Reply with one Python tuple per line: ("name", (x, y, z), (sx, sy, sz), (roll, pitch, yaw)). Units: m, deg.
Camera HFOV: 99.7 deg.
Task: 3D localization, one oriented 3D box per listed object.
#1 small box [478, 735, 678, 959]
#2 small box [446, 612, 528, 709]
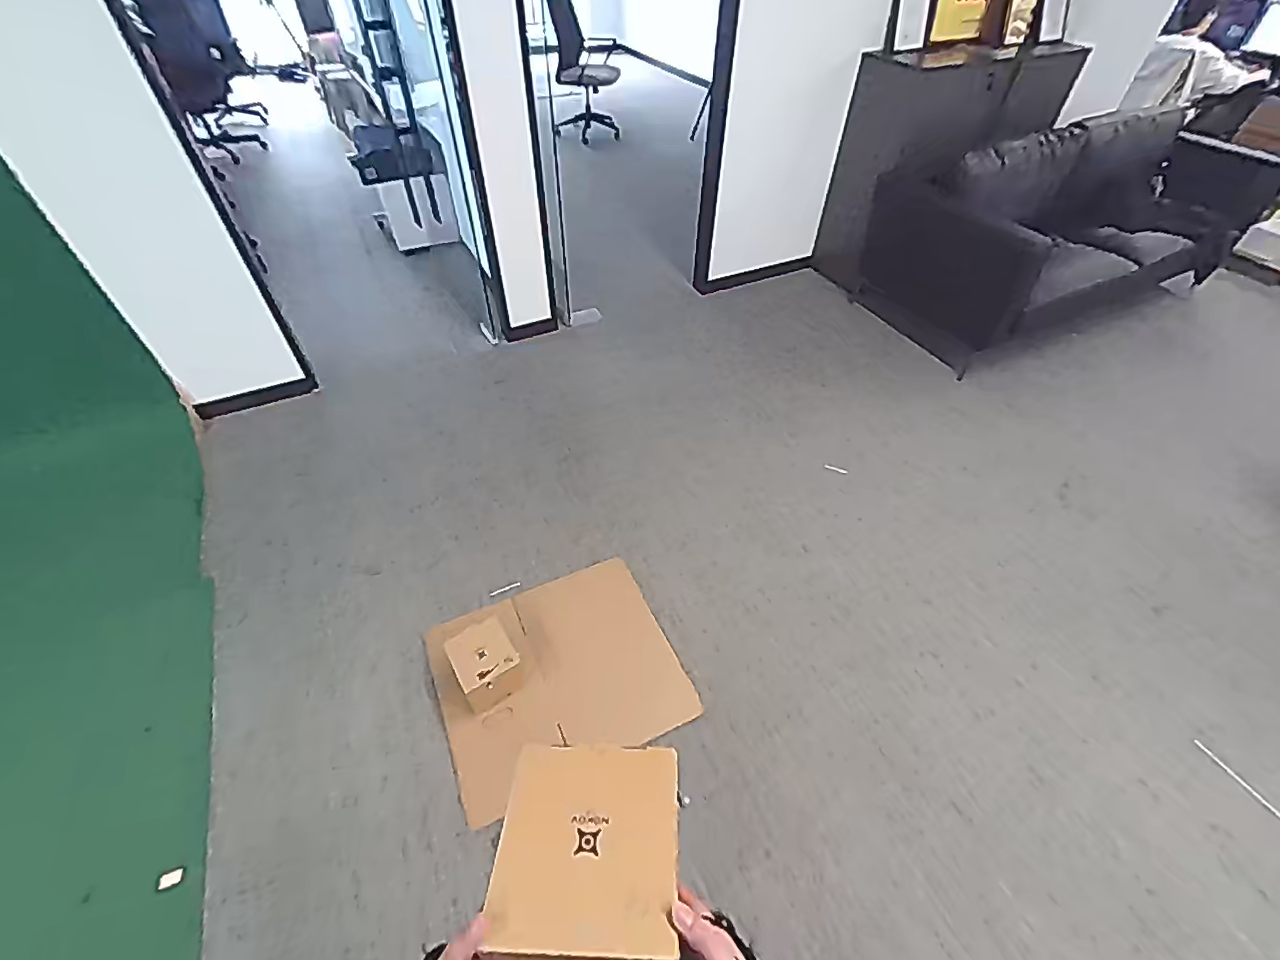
("small box", (-0.045, 0.387, 0.545), (0.168, 0.176, 0.179), (0, 34, 3))
("small box", (-0.440, 0.525, 1.568), (0.168, 0.176, 0.179), (-25, 53, -23))
